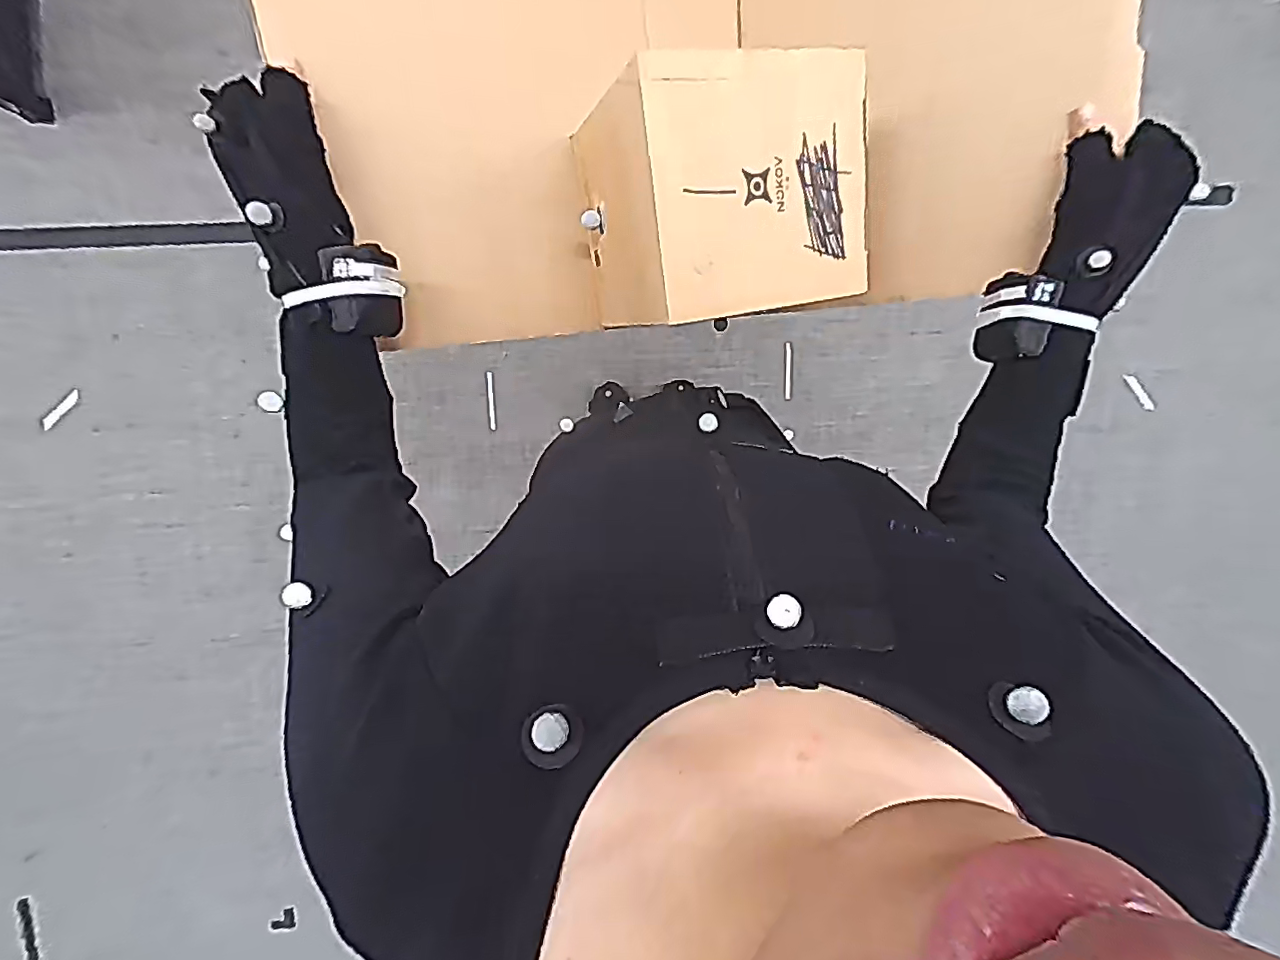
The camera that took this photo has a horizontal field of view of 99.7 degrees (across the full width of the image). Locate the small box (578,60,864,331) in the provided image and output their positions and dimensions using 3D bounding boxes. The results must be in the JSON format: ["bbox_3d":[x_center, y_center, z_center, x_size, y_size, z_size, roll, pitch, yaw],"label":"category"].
[{"bbox_3d":[0.062,-0.223,0.457,0.179,0.176,0.168,-14,109,-17],"label":"small box"}]
